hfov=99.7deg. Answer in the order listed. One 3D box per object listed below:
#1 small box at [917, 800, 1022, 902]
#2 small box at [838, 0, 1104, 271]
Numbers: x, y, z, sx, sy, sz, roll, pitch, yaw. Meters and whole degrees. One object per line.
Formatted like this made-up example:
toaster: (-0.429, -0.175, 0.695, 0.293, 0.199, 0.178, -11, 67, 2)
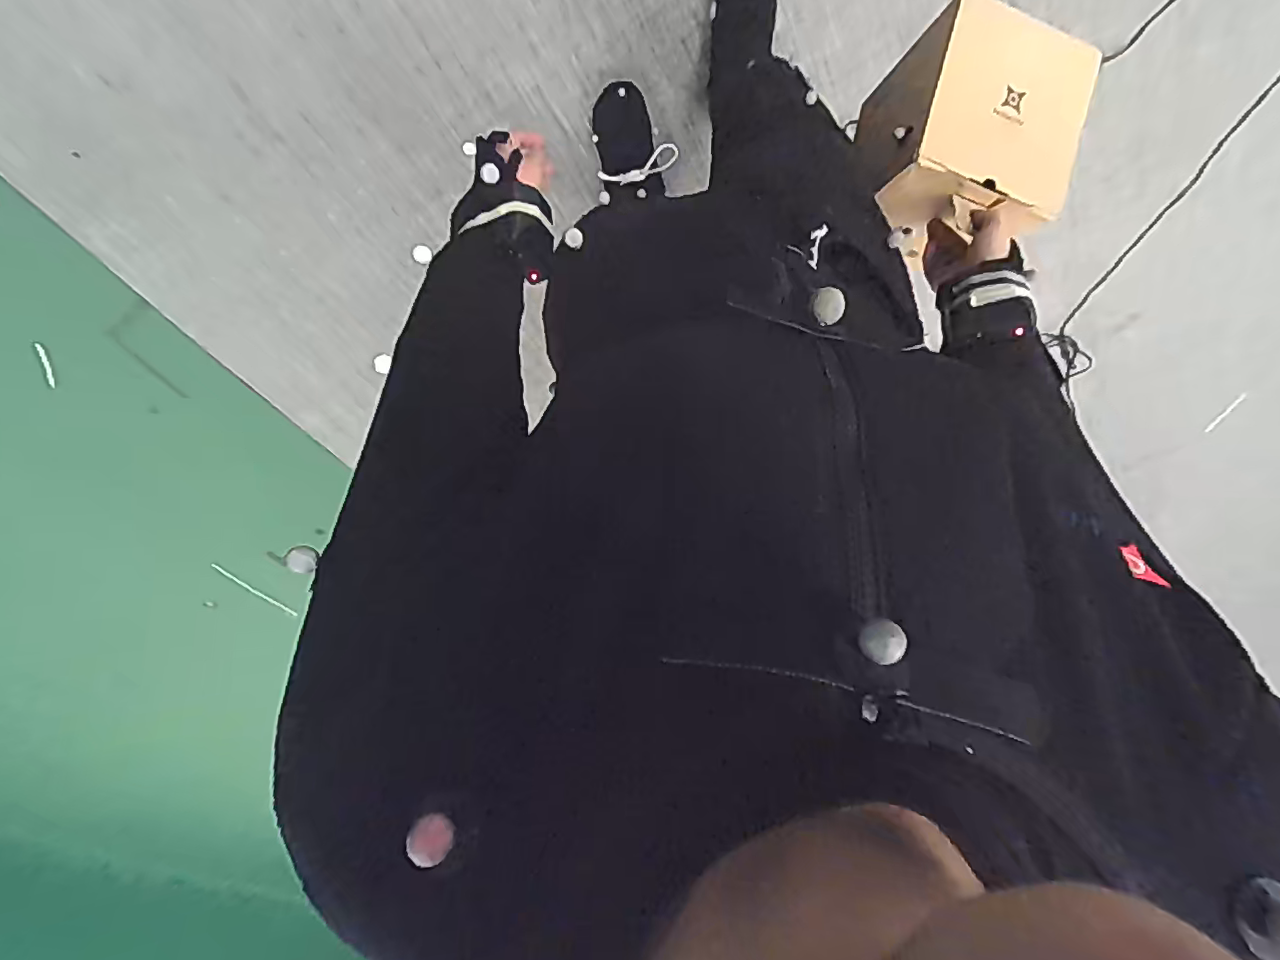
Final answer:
small box: (0.817, 0.922, 1.350, 0.168, 0.176, 0.179, -23, 129, 15)
small box: (0.345, -0.364, 0.594, 0.168, 0.176, 0.179, 15, 89, -10)
